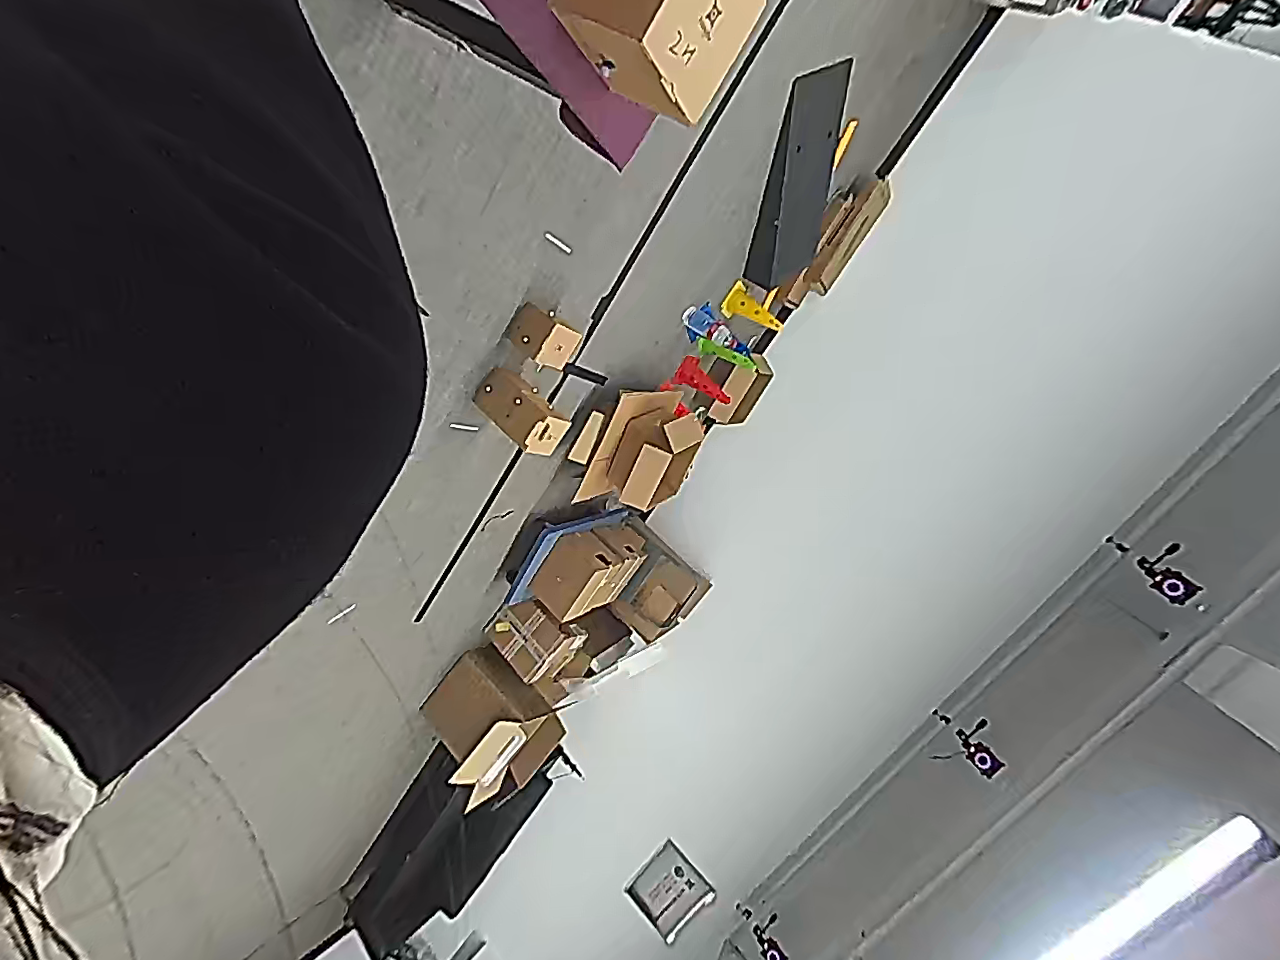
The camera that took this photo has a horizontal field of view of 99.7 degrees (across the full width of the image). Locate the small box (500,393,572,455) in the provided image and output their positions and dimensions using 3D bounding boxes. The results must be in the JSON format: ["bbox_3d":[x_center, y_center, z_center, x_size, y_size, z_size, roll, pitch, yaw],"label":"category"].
[{"bbox_3d":[-0.406,-0.217,2.090,0.168,0.176,0.179,-54,160,12],"label":"small box"}]

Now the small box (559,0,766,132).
[{"bbox_3d":[0.028,-0.604,0.693,0.179,0.176,0.168,-56,157,15],"label":"small box"}]

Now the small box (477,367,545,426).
[{"bbox_3d":[-0.519,-0.319,2.154,0.179,0.176,0.168,-53,159,11],"label":"small box"}]

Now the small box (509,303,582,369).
[{"bbox_3d":[-0.365,-0.551,2.068,0.168,0.176,0.179,-55,160,16],"label":"small box"}]
